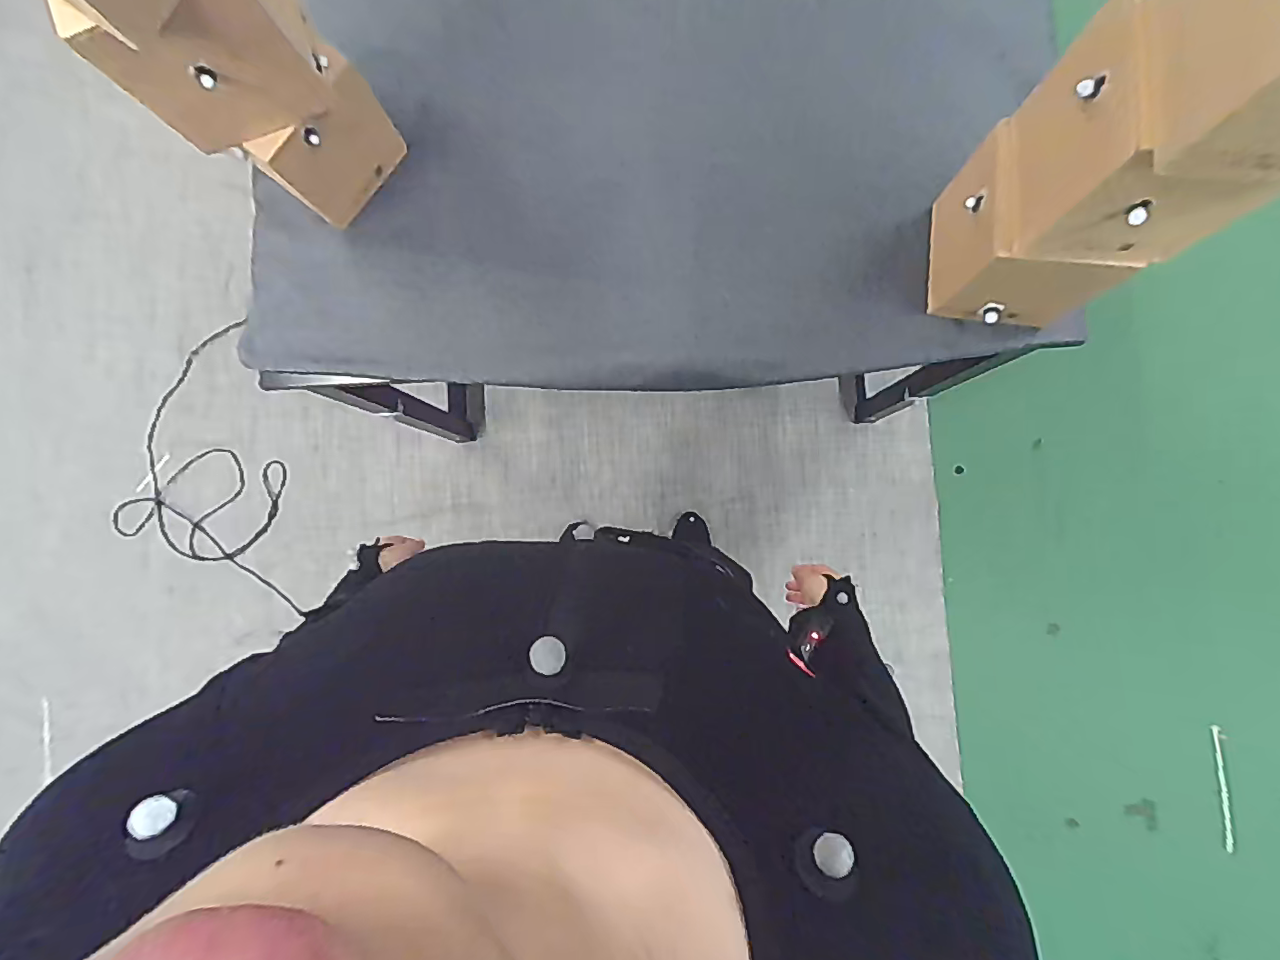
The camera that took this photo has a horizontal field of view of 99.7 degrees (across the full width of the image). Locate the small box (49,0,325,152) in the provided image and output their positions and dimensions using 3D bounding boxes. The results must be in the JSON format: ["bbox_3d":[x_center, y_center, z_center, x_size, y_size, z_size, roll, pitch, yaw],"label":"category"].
[{"bbox_3d":[-0.476,-0.502,0.582,0.179,0.176,0.168,-21,87,1],"label":"small box"}]

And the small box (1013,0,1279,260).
[{"bbox_3d":[0.499,-0.338,0.529,0.168,0.176,0.179,4,82,4],"label":"small box"}]

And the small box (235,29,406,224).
[{"bbox_3d":[-0.470,-0.496,0.746,0.179,0.176,0.168,38,89,4],"label":"small box"}]

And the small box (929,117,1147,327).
[{"bbox_3d":[0.493,-0.318,0.691,0.168,0.176,0.179,6,84,4],"label":"small box"}]
